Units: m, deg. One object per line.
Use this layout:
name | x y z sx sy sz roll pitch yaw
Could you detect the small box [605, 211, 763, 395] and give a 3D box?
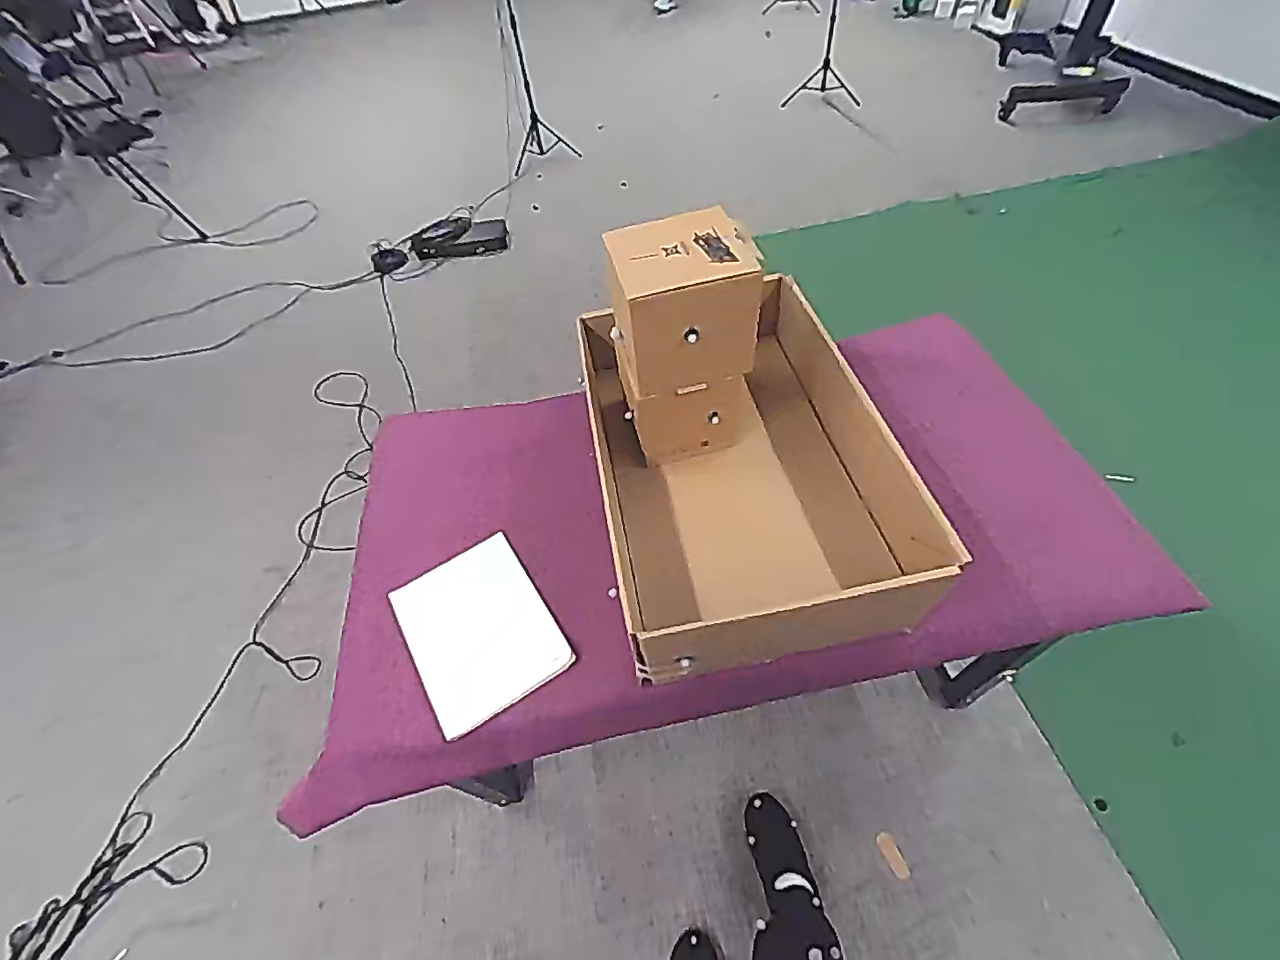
small box | 0.057 -0.247 0.769 0.179 0.176 0.168 -14 53 -4
